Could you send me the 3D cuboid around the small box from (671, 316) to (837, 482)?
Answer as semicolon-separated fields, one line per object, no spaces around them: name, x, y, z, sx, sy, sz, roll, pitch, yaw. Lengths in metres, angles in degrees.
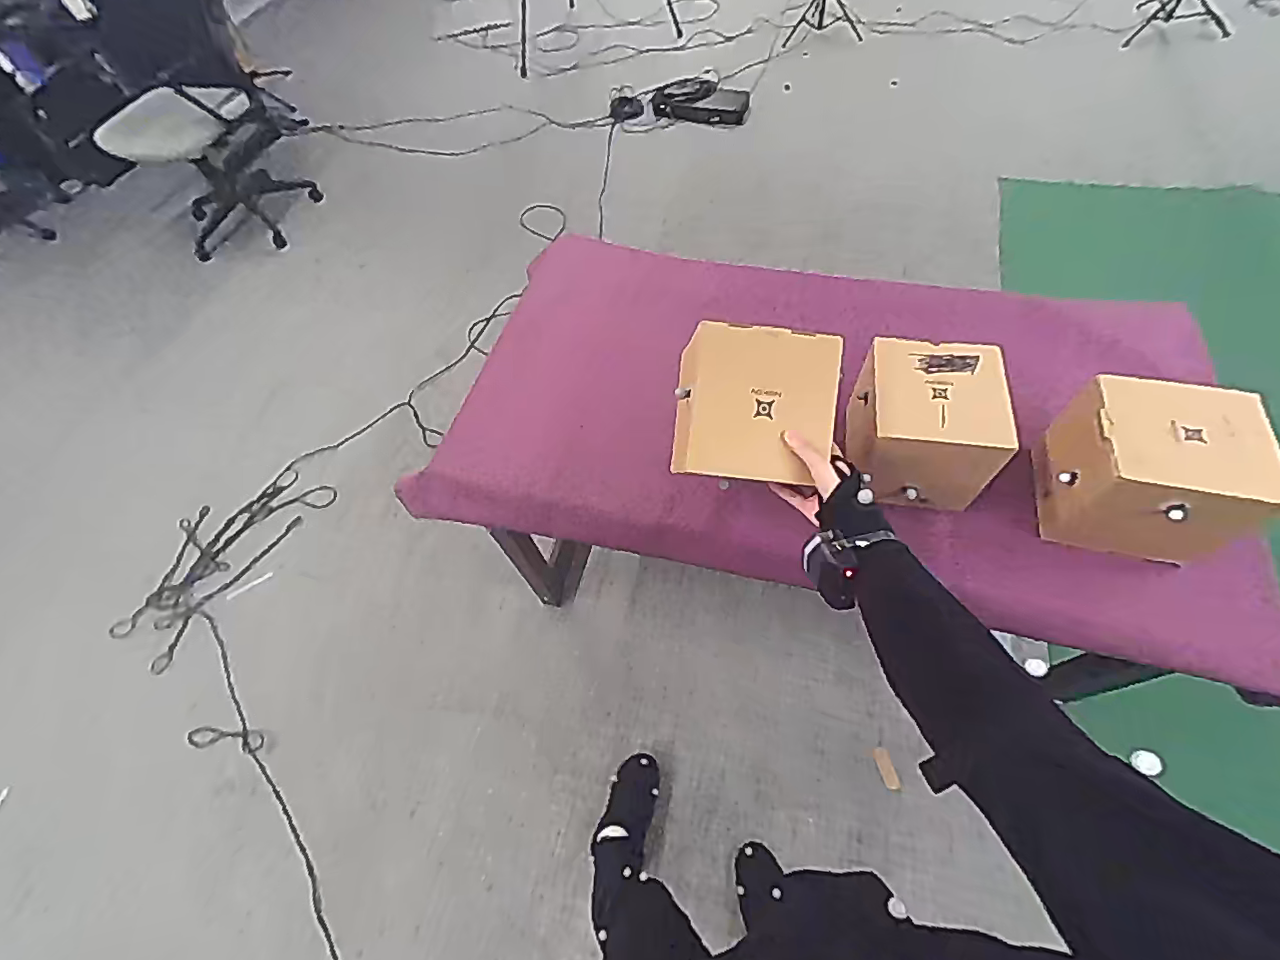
small box;0.133;-0.091;0.695;0.168;0.176;0.179;6;89;-2

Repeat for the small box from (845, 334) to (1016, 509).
small box;0.398;-0.081;0.774;0.168;0.176;0.179;7;61;10

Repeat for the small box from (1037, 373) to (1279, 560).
small box;0.653;-0.013;0.707;0.179;0.176;0.168;12;60;13
